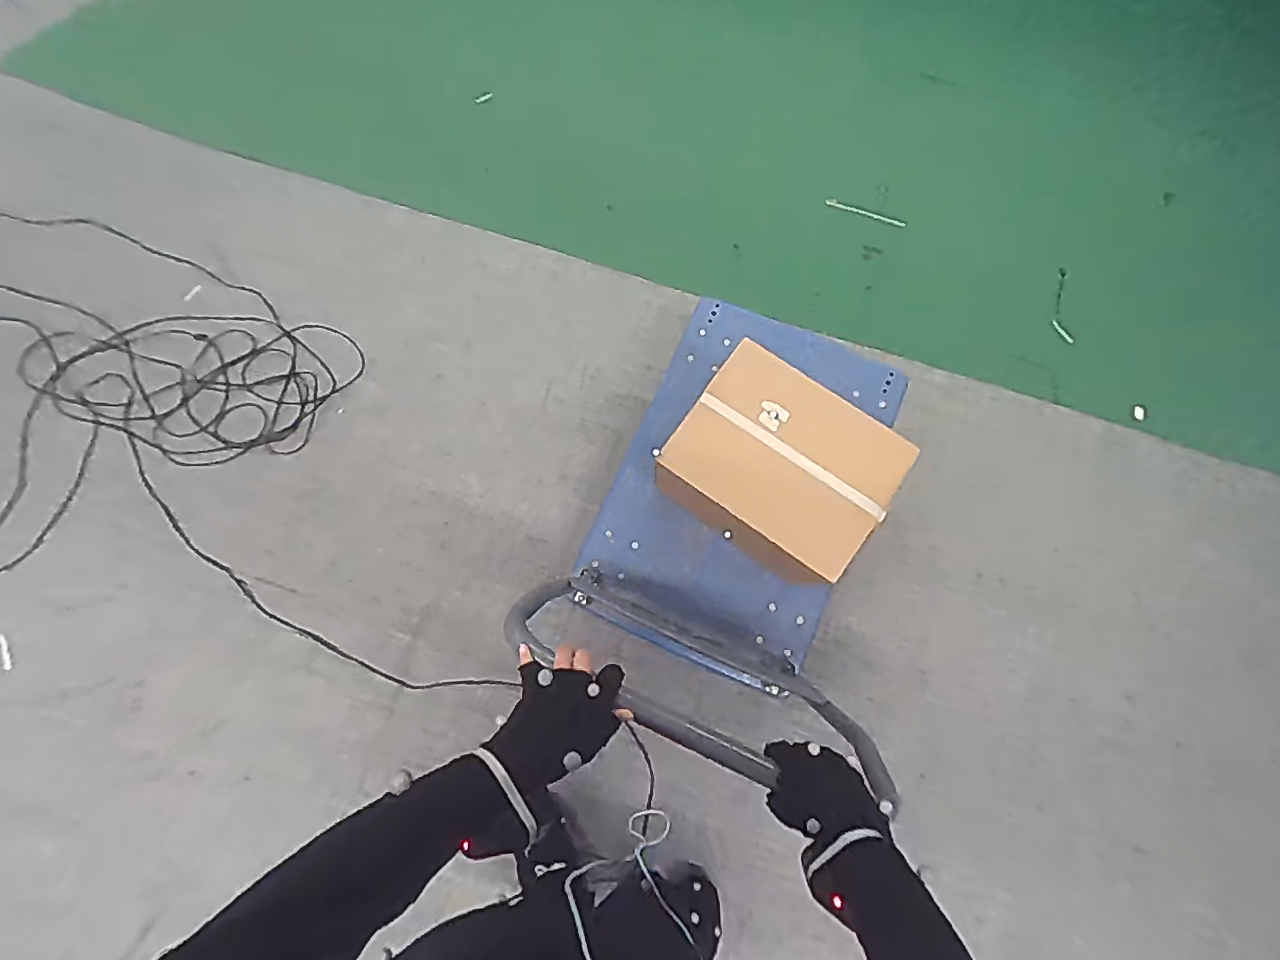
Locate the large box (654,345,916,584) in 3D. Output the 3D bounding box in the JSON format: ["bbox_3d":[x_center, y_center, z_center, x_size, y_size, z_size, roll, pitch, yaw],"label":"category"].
[{"bbox_3d":[0.284,-0.012,1.175,0.408,0.320,0.320,35,82,9],"label":"large box"}]
